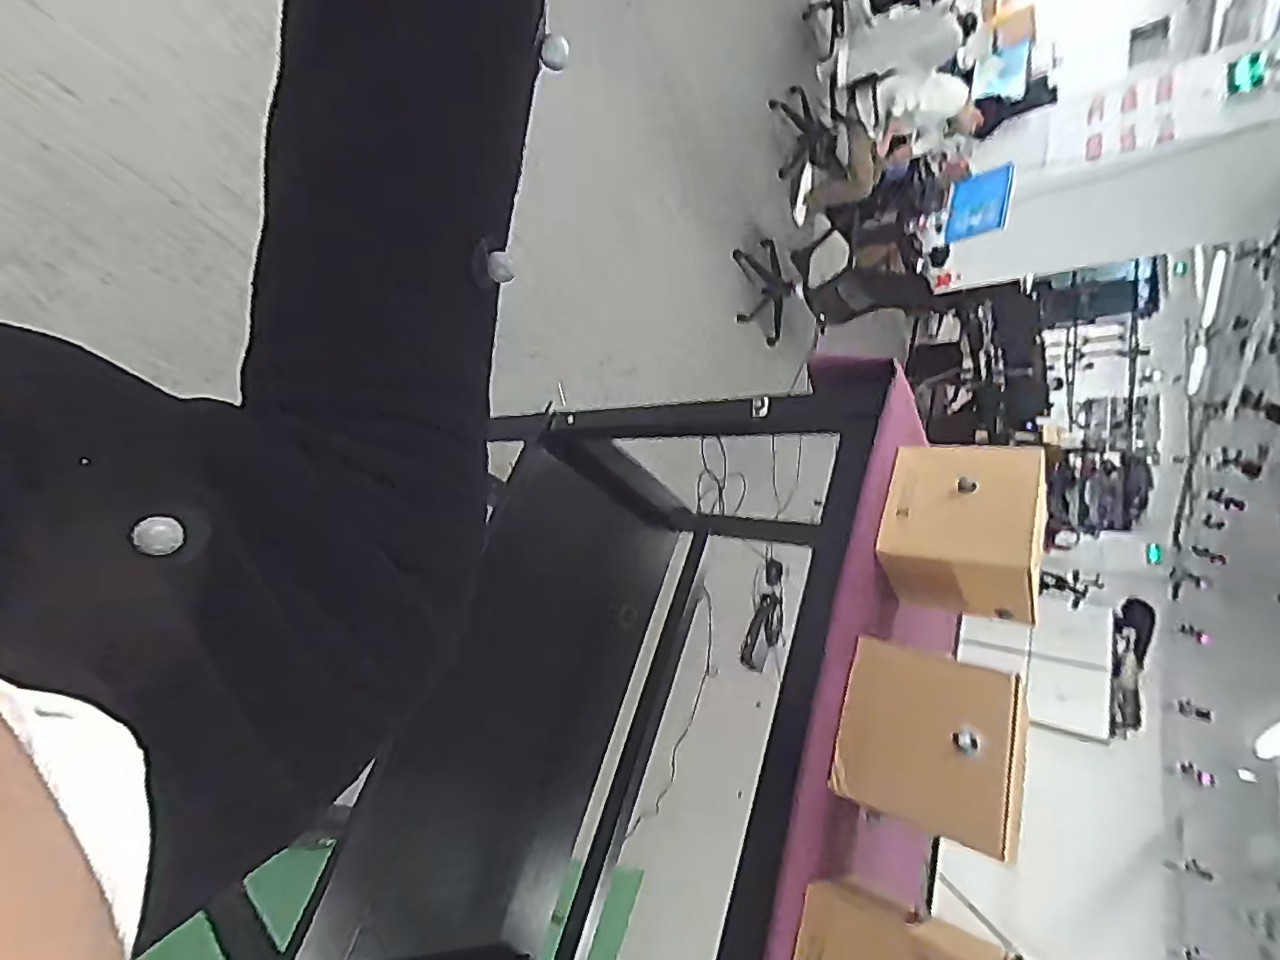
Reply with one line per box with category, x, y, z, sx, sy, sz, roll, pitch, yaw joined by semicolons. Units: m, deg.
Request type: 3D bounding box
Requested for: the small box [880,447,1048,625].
small box;0.435;0.073;0.722;0.179;0.176;0.168;46;58;-42
